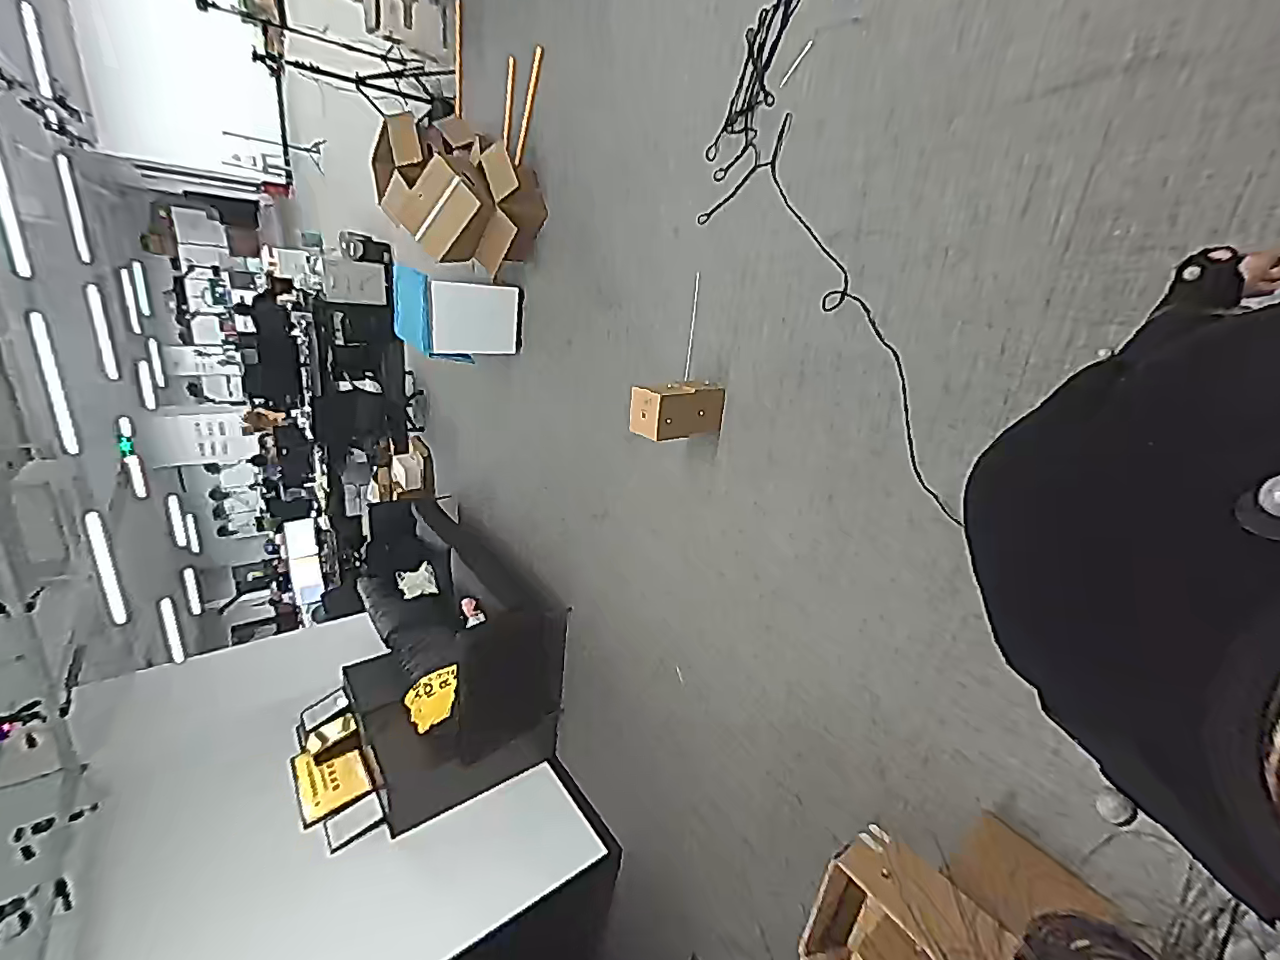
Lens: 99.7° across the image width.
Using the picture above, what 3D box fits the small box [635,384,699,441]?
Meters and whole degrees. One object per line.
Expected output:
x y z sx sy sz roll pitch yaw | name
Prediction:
0.102 -0.259 2.030 0.168 0.176 0.179 28 119 46 | small box

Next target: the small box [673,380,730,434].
0.234 -0.291 2.123 0.168 0.176 0.179 28 119 47 | small box
